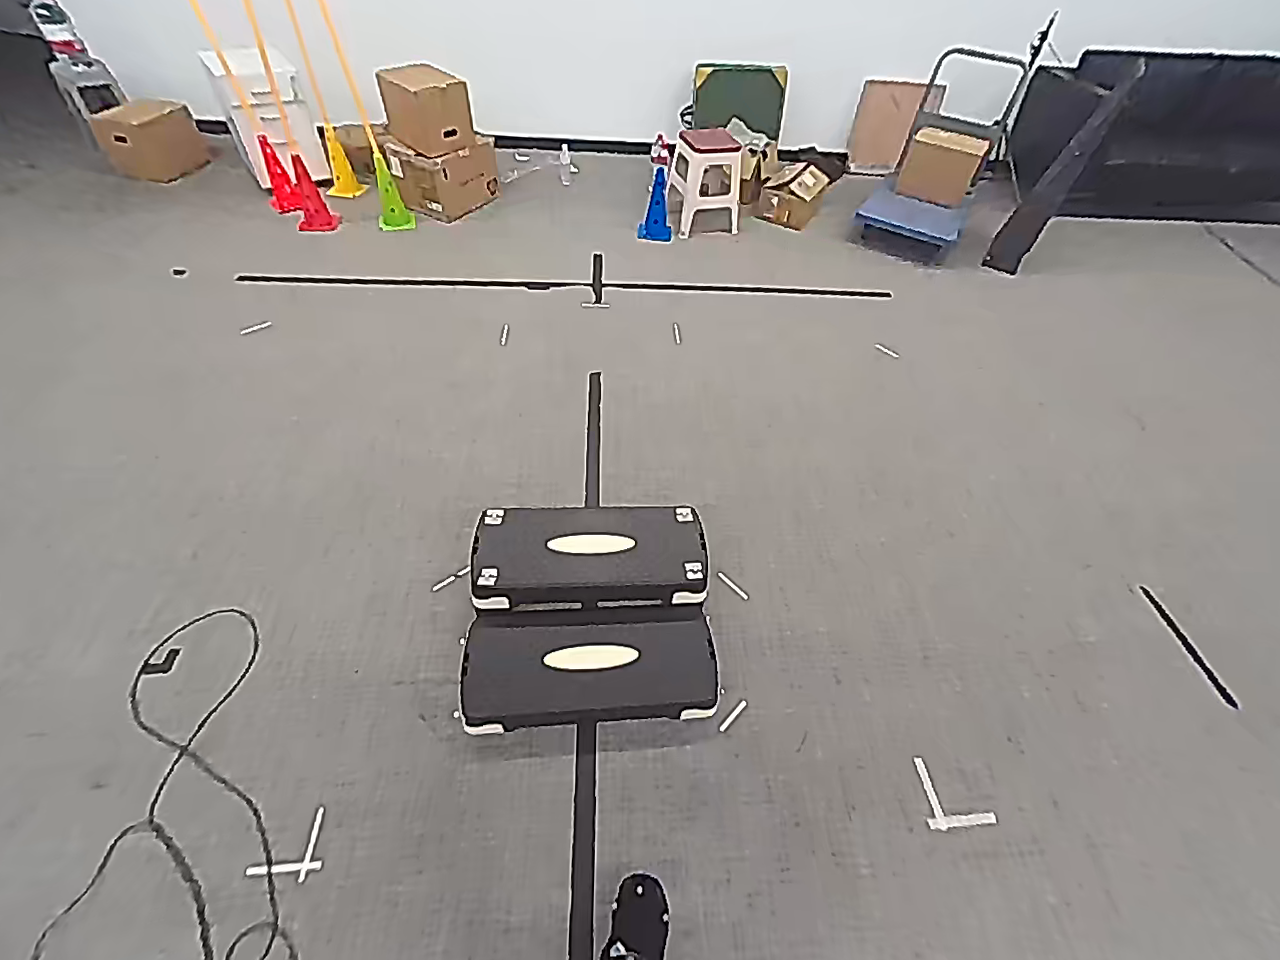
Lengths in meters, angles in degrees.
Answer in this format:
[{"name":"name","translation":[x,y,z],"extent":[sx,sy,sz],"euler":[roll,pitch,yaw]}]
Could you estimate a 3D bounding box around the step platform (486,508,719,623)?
[{"name":"step platform","translation":[-0.109,0.245,1.618],"extent":[0.684,0.204,0.286],"euler":[0,49,-6]}]
